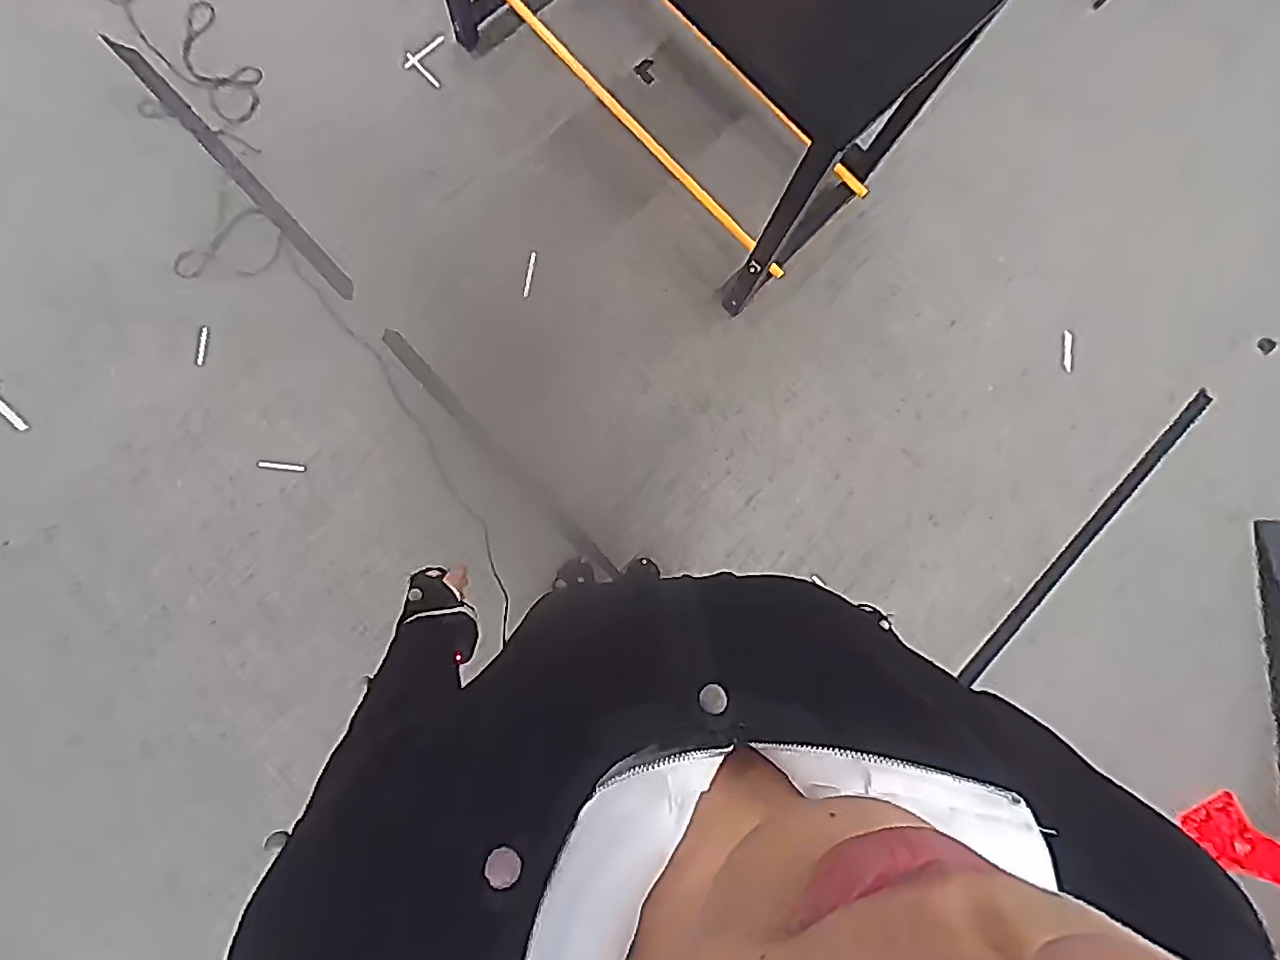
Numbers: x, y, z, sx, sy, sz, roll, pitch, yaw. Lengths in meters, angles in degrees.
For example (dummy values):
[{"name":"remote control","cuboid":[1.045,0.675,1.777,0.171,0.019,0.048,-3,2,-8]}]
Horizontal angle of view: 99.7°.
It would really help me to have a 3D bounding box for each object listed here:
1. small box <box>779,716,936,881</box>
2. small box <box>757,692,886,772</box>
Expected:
[{"name":"small box","cuboid":[0.396,0.581,1.015,0.179,0.176,0.168,43,81,1]},{"name":"small box","cuboid":[0.384,0.589,1.180,0.179,0.176,0.168,38,82,0]}]
